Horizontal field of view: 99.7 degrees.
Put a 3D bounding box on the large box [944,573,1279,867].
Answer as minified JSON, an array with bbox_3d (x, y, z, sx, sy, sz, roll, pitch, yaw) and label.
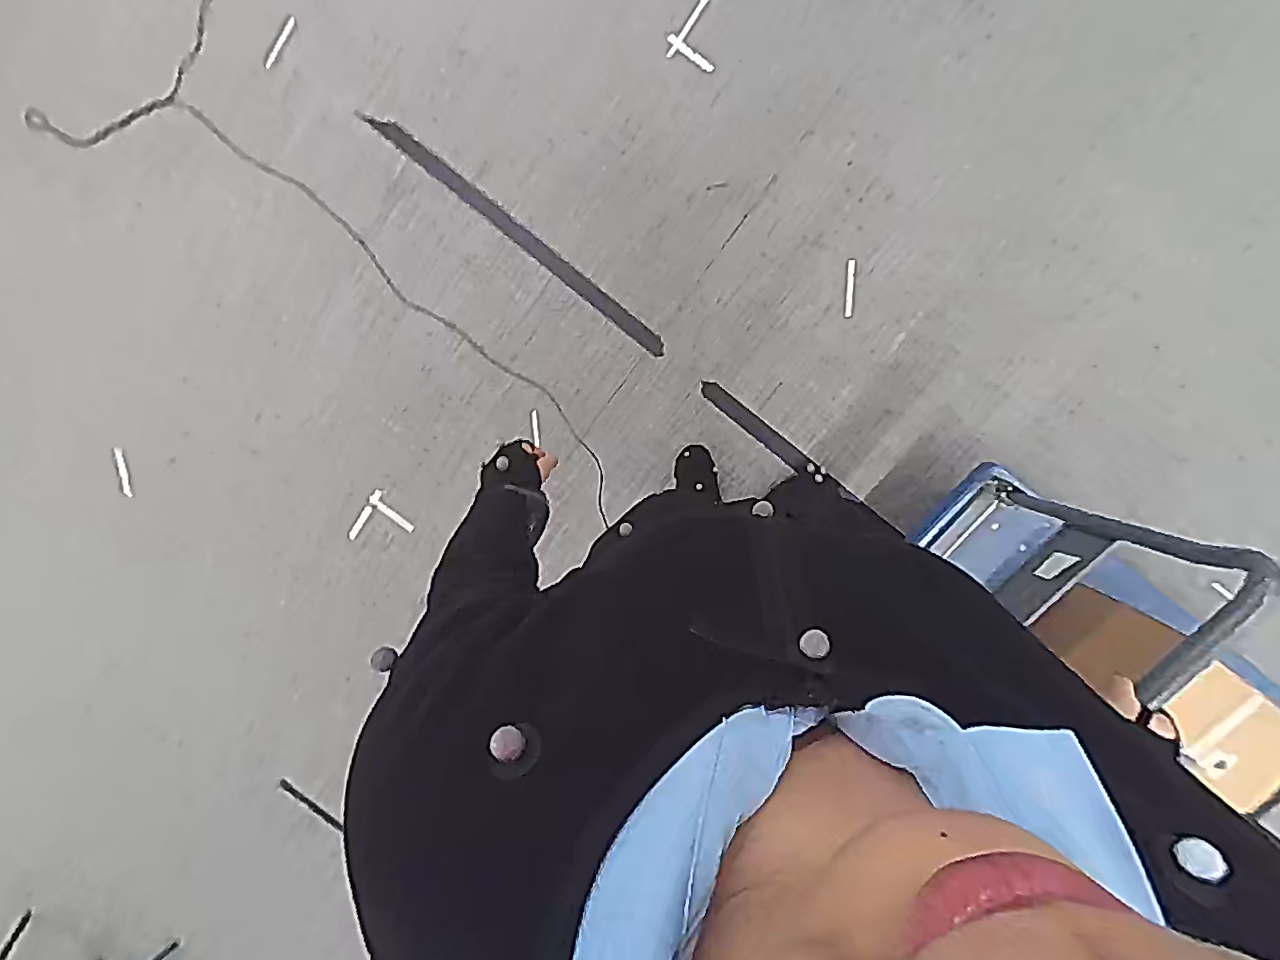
[{"bbox_3d":[0.957,0.475,1.143,0.320,0.320,0.408,39,100,-1],"label":"large box"}]
